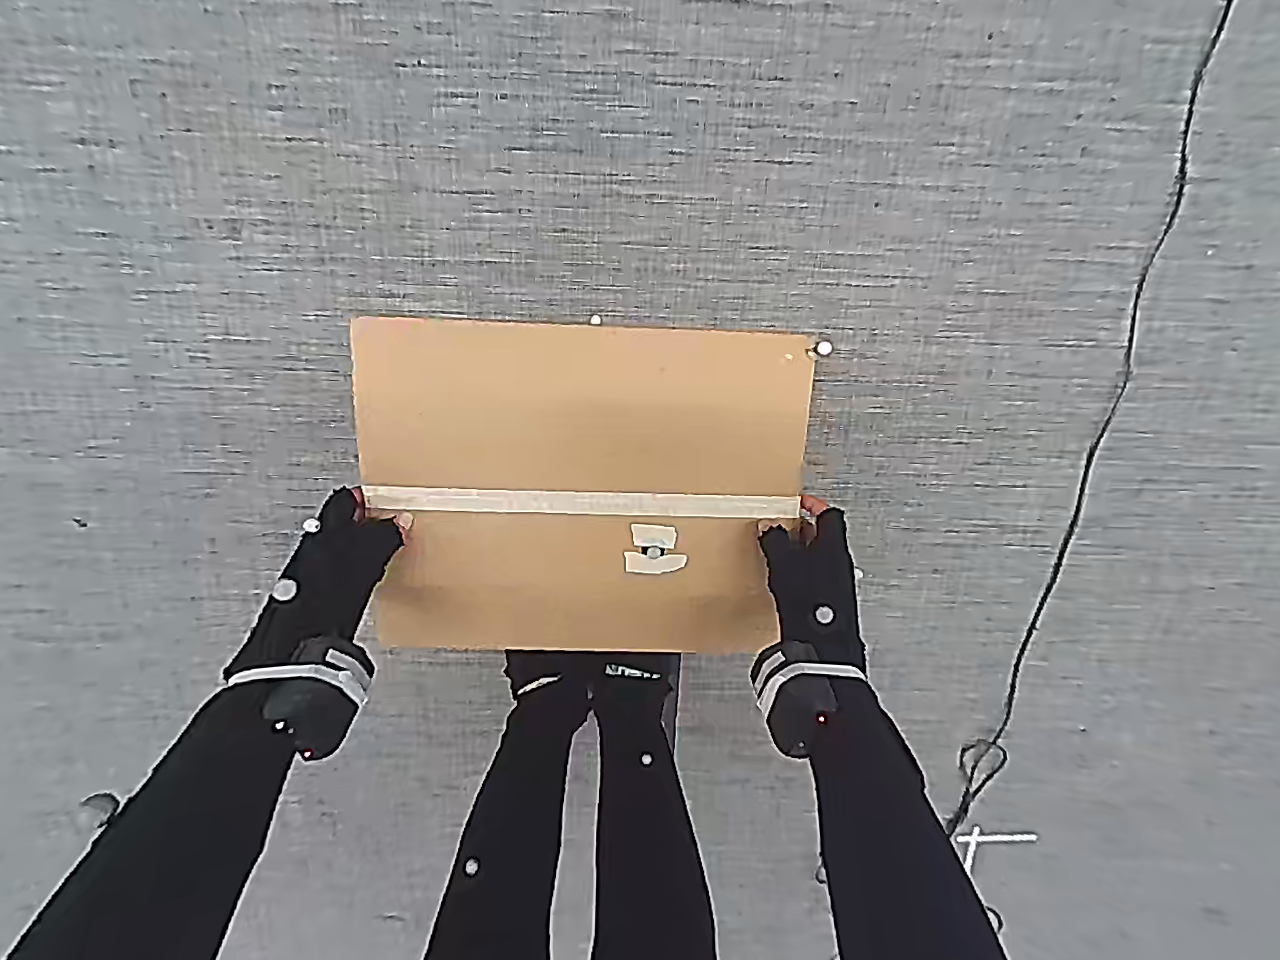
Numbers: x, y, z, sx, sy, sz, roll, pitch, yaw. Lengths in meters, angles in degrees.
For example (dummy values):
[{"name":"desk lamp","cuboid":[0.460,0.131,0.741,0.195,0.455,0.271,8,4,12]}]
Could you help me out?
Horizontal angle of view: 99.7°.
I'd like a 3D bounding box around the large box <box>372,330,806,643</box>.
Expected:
[{"name":"large box","cuboid":[-0.055,-0.014,0.670,0.408,0.320,0.320,2,104,-3]}]
